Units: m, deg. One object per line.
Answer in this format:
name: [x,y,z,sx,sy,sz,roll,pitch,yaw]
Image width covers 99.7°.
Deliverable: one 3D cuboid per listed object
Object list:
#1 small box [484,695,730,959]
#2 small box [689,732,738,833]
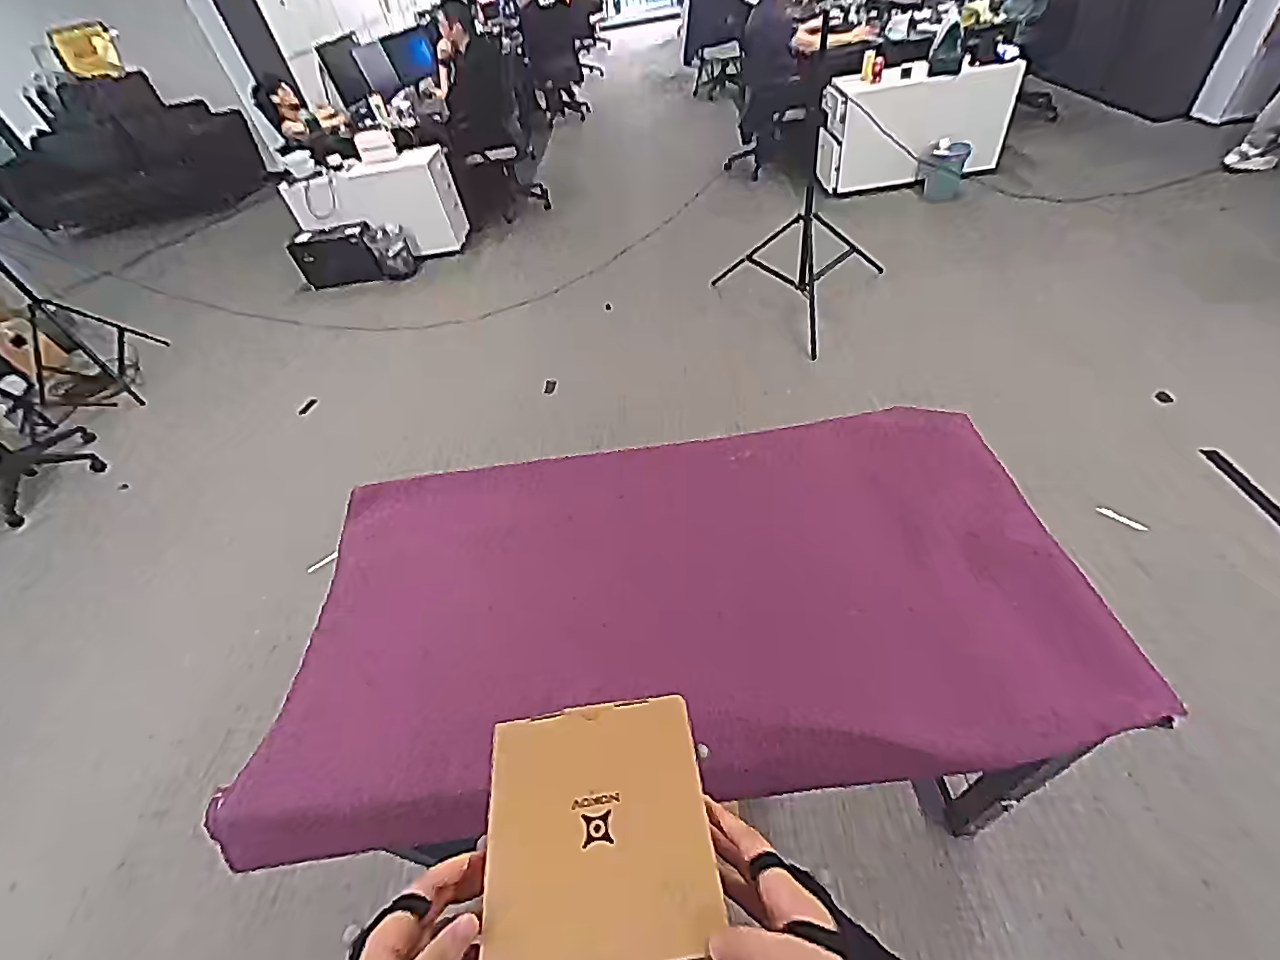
small box: [-0.025,0.317,0.459,0.168,0.176,0.179,-9,41,-4]
small box: [0.139,0.714,1.269,0.168,0.176,0.179,-5,45,5]
